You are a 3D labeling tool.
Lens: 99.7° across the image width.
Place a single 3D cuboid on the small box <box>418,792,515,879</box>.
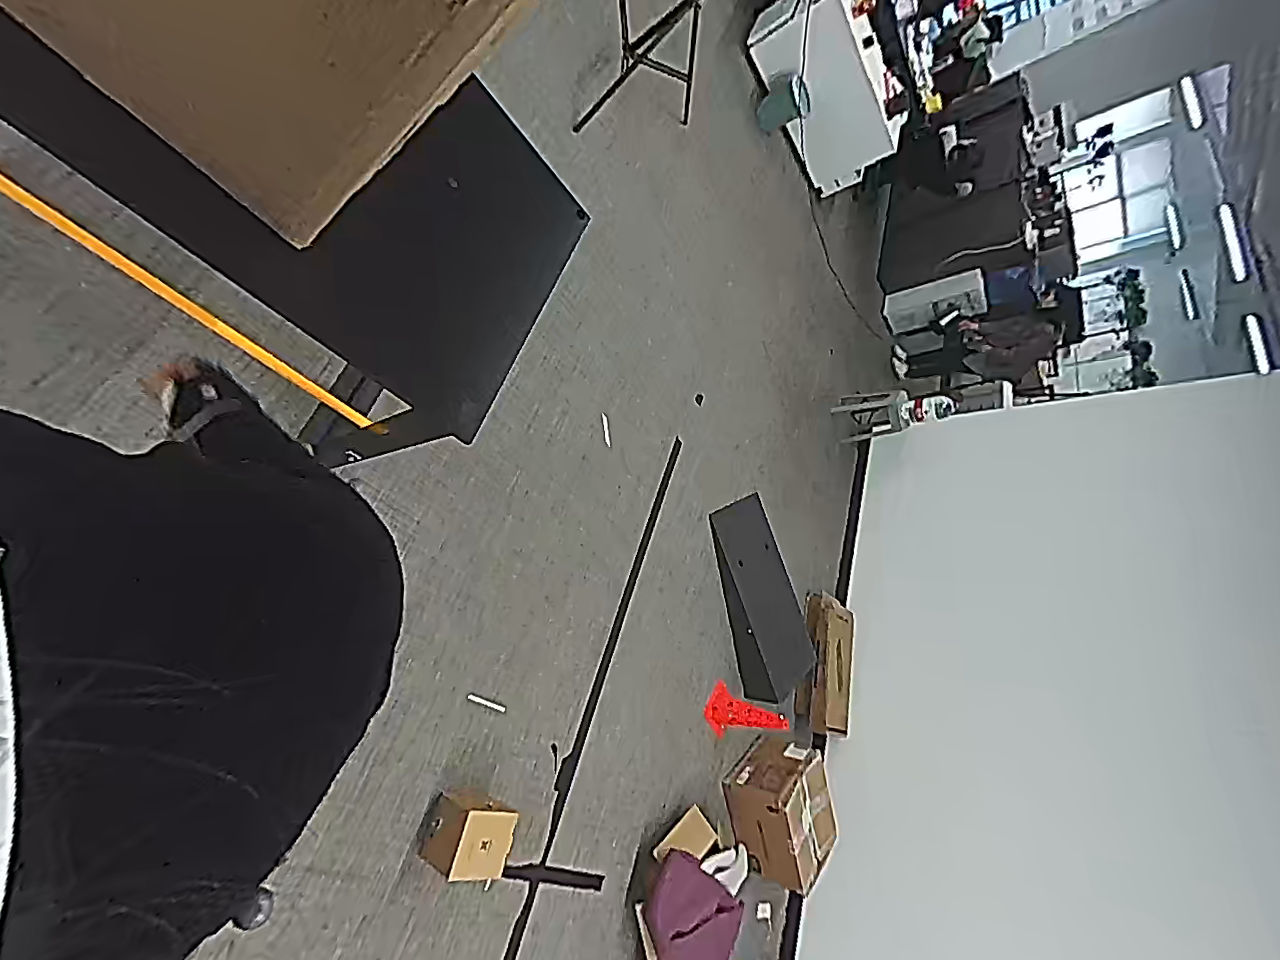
[{"bbox_3d":[-0.493,1.005,1.539,0.179,0.176,0.168,33,61,-40],"label":"small box"}]
